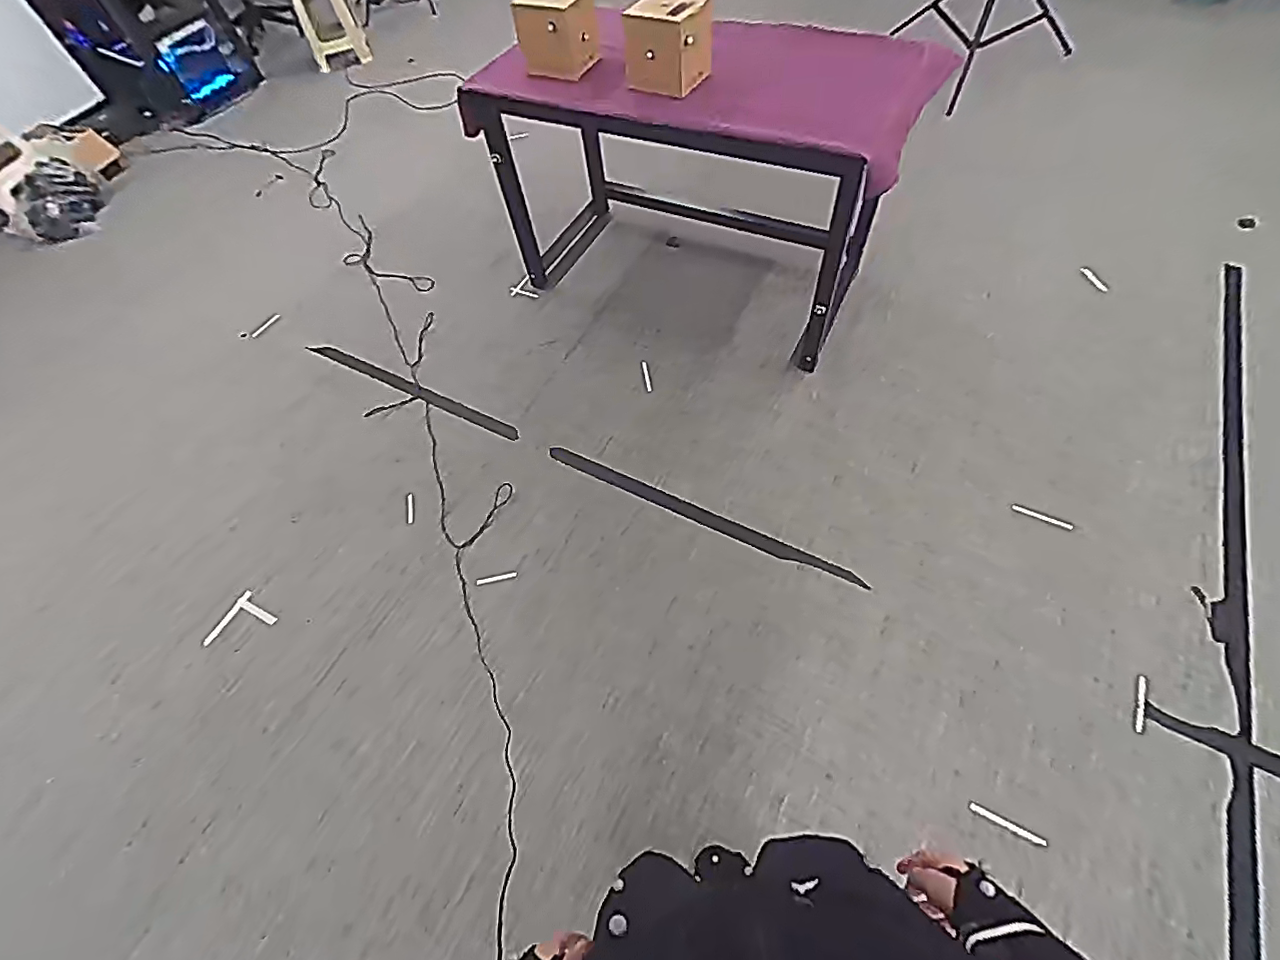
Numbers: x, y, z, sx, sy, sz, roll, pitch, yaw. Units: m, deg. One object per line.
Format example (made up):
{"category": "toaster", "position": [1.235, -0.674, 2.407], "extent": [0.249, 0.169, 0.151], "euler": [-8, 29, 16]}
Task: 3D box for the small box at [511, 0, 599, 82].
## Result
{"category": "small box", "position": [-0.233, -1.268, 1.540], "extent": [0.179, 0.176, 0.168], "euler": [20, 61, 17]}
